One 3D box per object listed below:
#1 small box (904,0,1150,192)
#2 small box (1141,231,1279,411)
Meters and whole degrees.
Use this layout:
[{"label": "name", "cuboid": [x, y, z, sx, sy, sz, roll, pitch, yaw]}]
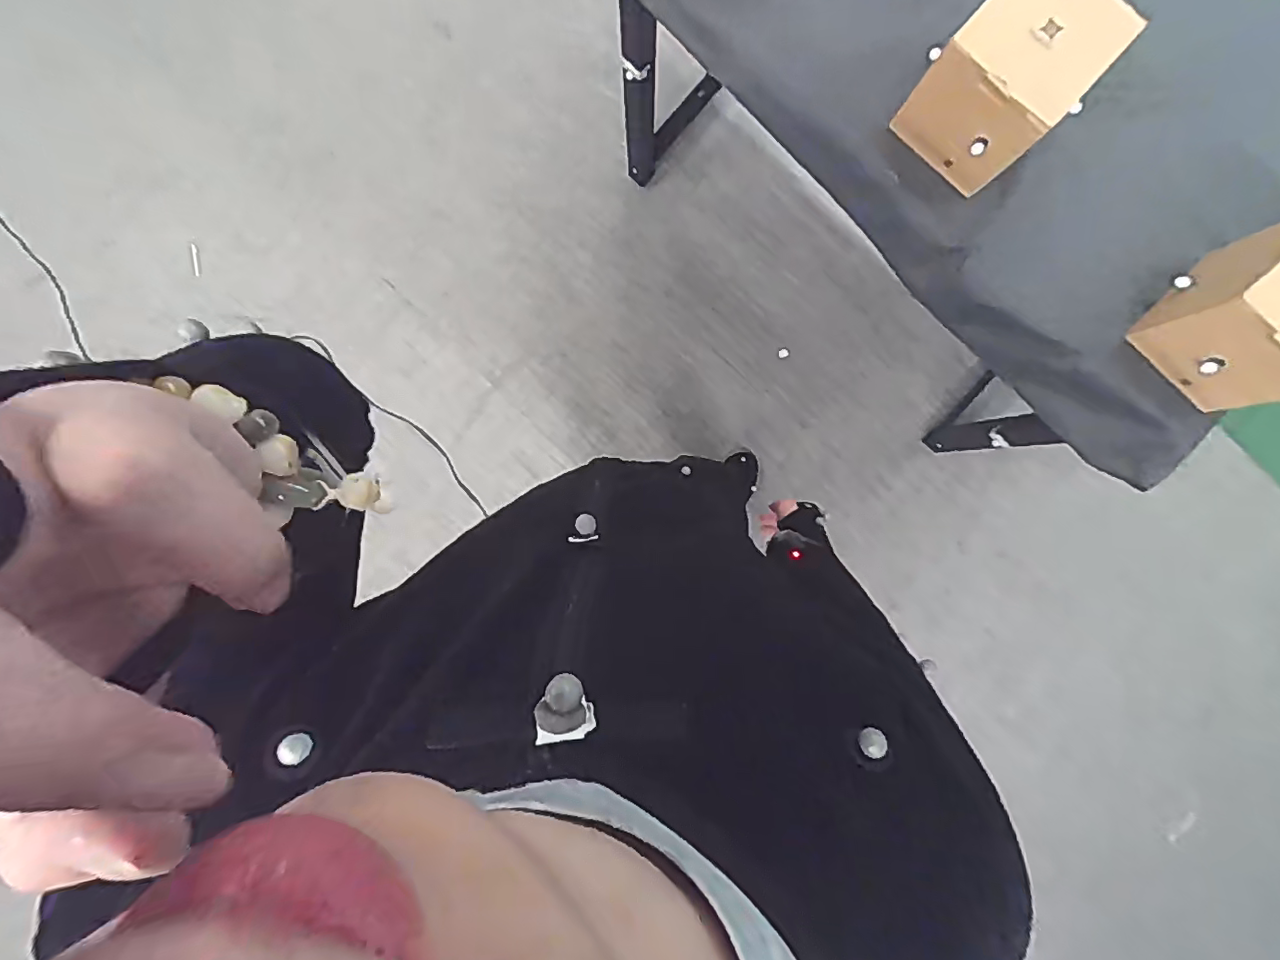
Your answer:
[{"label": "small box", "cuboid": [0.488, -0.532, 0.718, 0.168, 0.176, 0.179, 42, 89, -2]}, {"label": "small box", "cuboid": [0.835, -0.211, 0.717, 0.179, 0.176, 0.168, -44, 88, 1]}]
